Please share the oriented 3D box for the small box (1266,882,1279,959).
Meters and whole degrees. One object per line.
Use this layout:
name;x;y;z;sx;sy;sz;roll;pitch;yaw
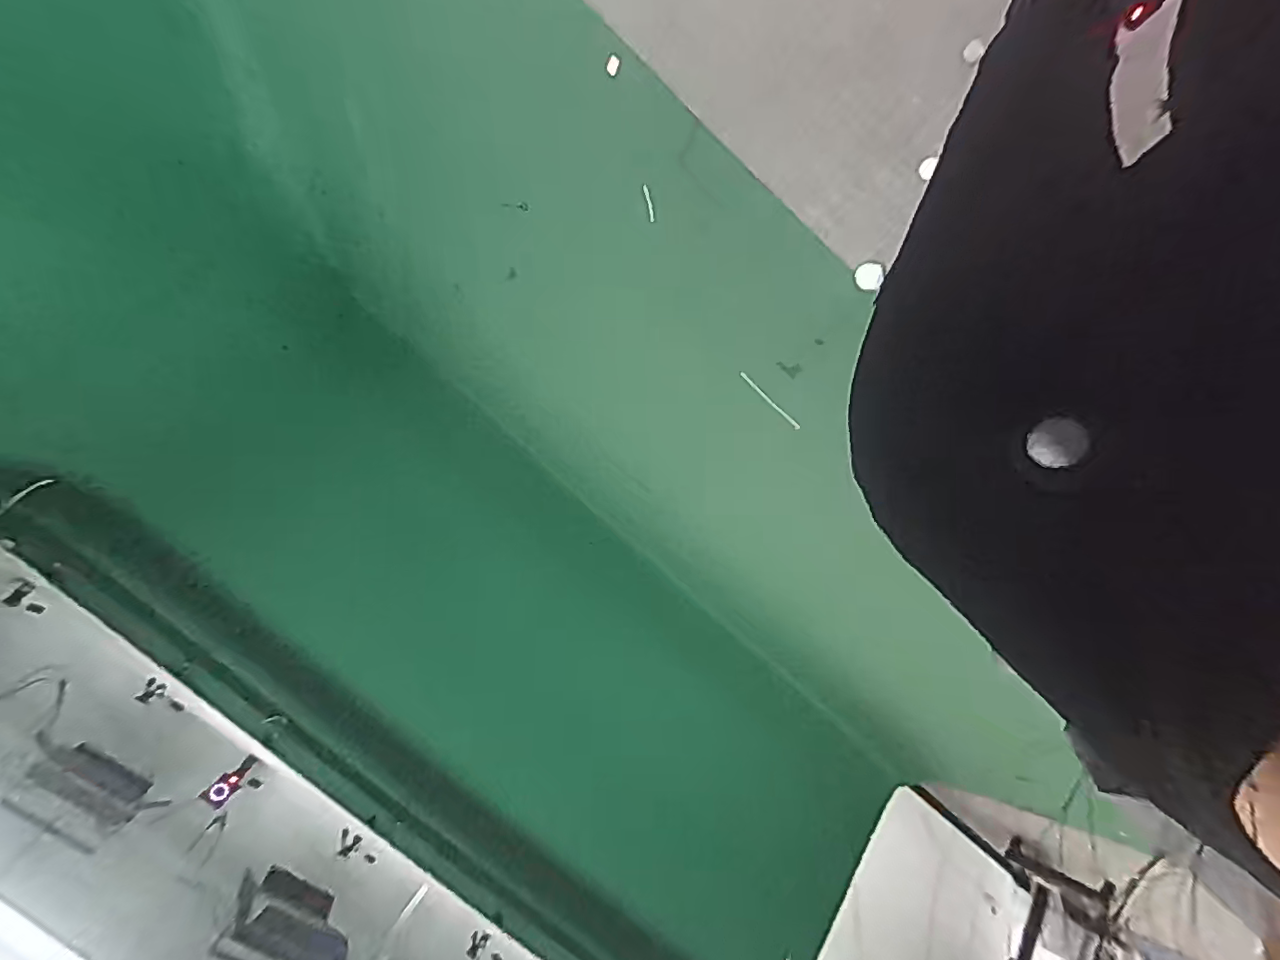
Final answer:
small box;1.276;0.865;0.954;0.179;0.176;0.168;40;159;-4
